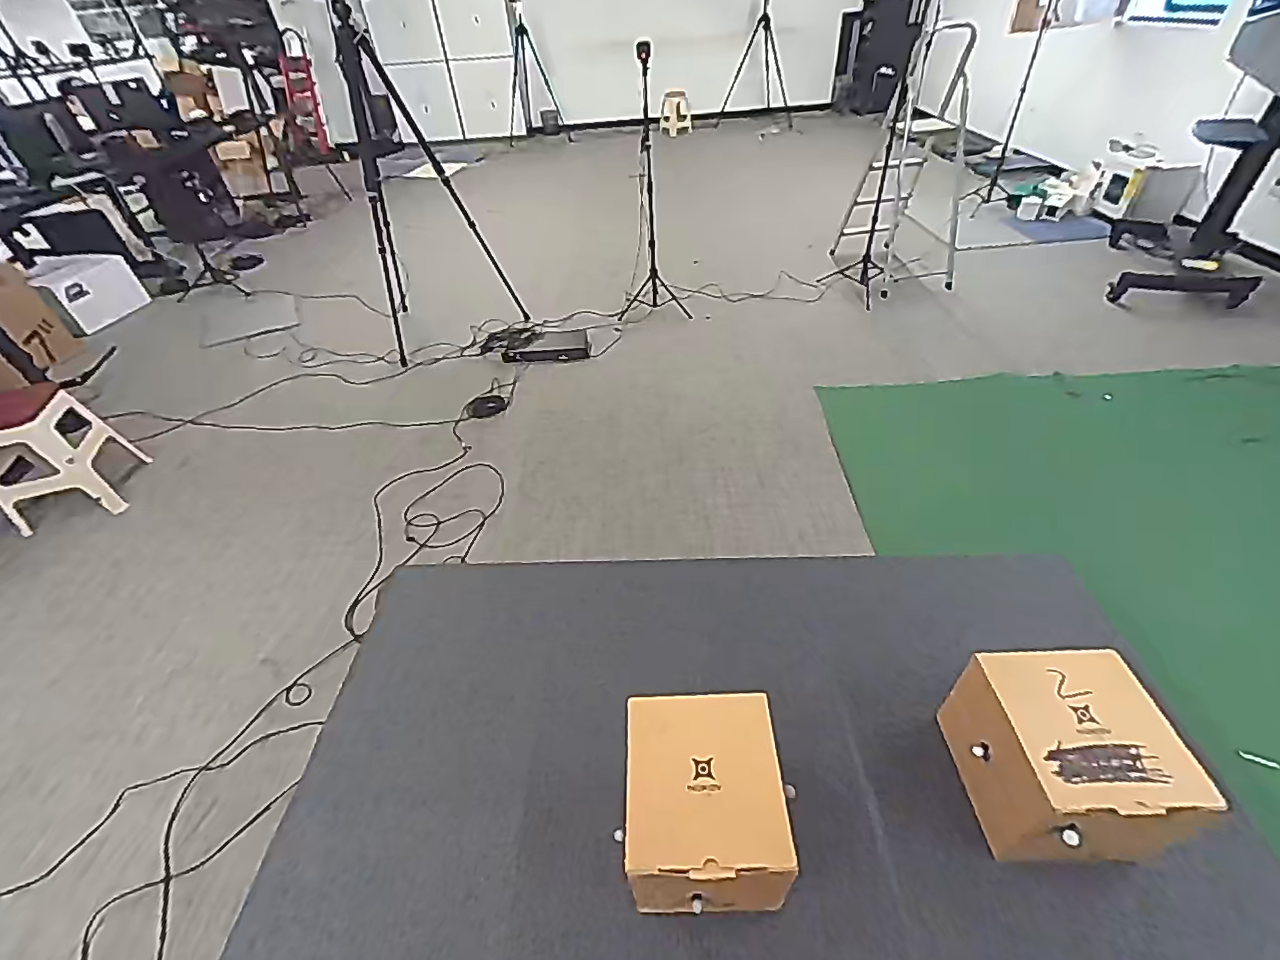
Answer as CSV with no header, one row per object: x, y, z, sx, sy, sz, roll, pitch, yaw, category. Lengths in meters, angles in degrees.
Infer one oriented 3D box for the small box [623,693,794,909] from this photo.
0.067,0.371,0.628,0.168,0.176,0.179,-2,43,1,small box
